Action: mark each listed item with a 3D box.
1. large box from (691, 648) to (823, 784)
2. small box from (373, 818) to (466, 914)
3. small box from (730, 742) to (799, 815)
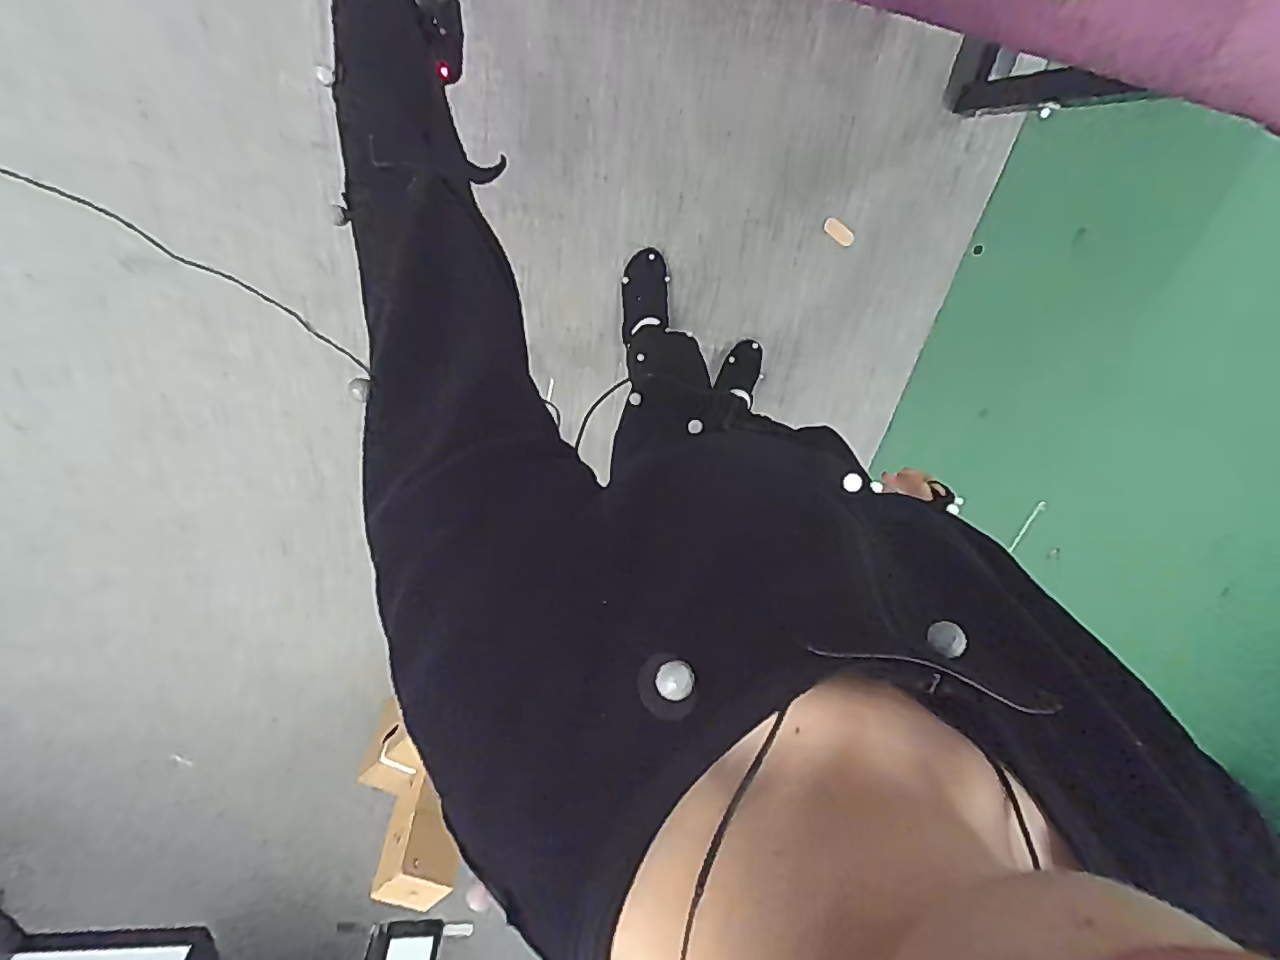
[{"bbox_3d":[0.416,0.867,2.007,0.408,0.320,0.320,-7,122,-3],"label":"large box"},{"bbox_3d":[-0.638,1.131,1.591,0.179,0.176,0.168,36,111,-22],"label":"small box"},{"bbox_3d":[0.408,0.995,1.797,0.179,0.176,0.168,-3,120,-3],"label":"small box"}]
